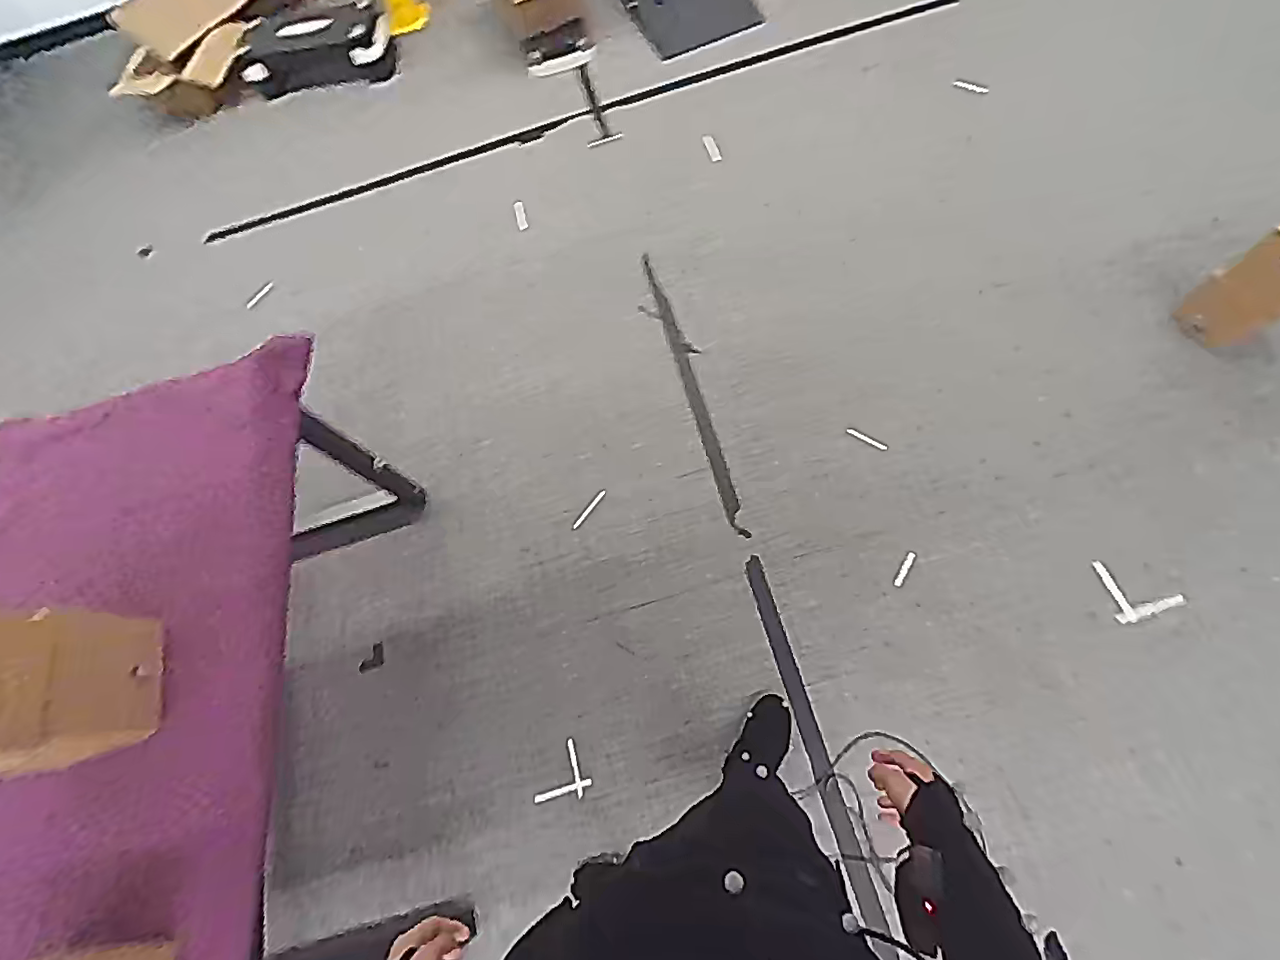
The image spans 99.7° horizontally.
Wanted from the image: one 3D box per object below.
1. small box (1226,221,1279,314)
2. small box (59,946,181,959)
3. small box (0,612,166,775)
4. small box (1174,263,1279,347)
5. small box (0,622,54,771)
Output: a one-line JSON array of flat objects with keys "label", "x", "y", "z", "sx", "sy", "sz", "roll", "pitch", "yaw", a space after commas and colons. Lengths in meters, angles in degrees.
[{"label": "small box", "x": 1.691, "y": -0.562, "z": 1.379, "sx": 0.168, "sy": 0.176, "sz": 0.179, "roll": -22, "pitch": 67, "yaw": -1}, {"label": "small box", "x": -0.690, "y": 0.668, "z": 0.615, "sx": 0.179, "sy": 0.176, "sz": 0.168, "roll": -8, "pitch": 68, "yaw": 5}, {"label": "small box", "x": -0.835, "y": 0.310, "z": 0.778, "sx": 0.168, "sy": 0.176, "sz": 0.179, "roll": -20, "pitch": 67, "yaw": 2}, {"label": "small box", "x": 1.705, "y": -0.512, "z": 1.535, "sx": 0.179, "sy": 0.176, "sz": 0.168, "roll": -21, "pitch": 67, "yaw": 0}, {"label": "small box", "x": -0.843, "y": 0.265, "z": 0.621, "sx": 0.168, "sy": 0.176, "sz": 0.179, "roll": -20, "pitch": 67, "yaw": 1}]
